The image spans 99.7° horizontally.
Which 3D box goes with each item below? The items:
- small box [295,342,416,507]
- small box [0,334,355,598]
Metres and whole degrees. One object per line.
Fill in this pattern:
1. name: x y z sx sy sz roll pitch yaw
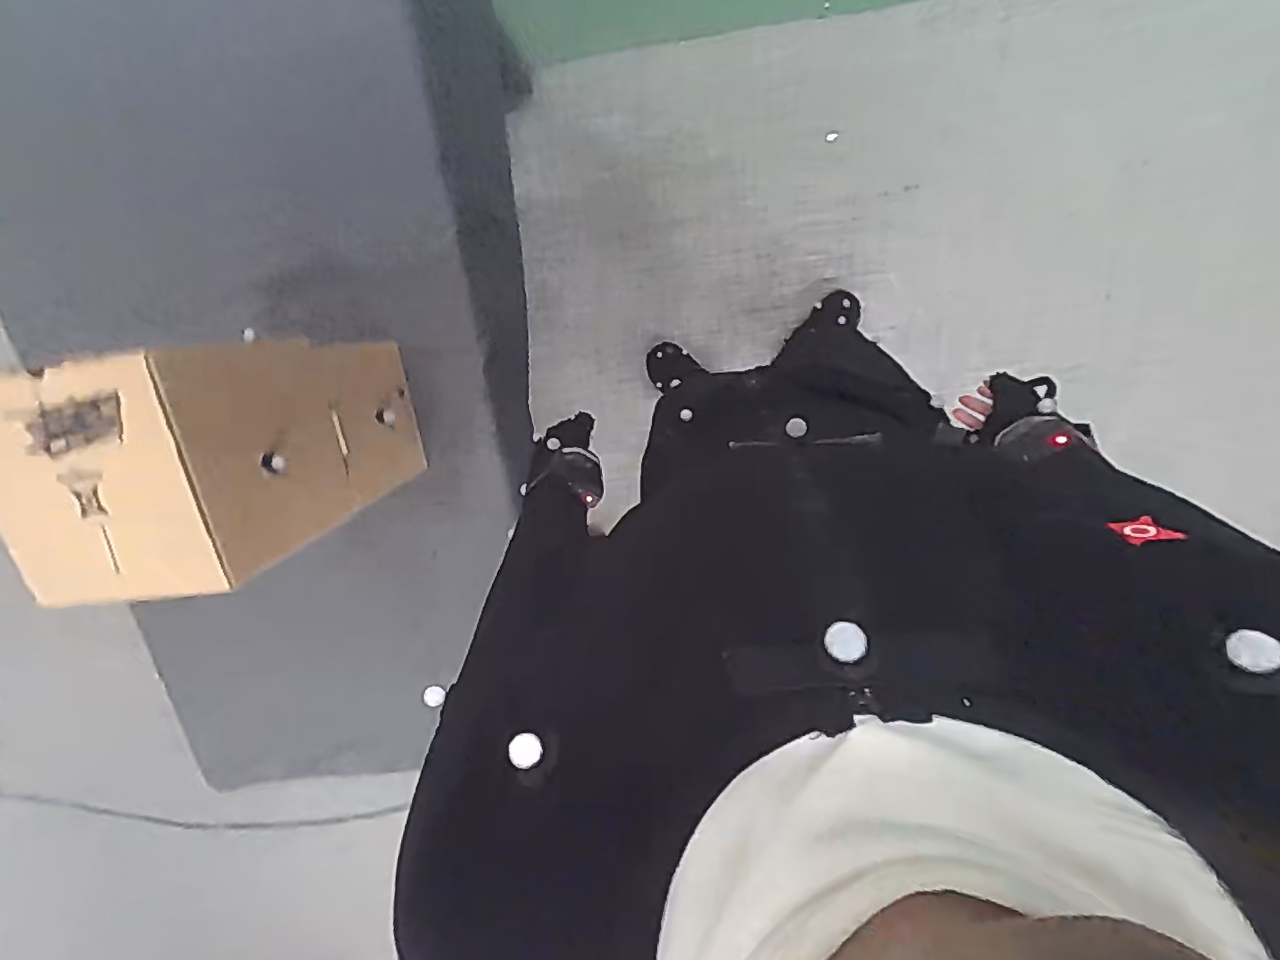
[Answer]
1. small box: -0.382 -0.064 0.625 0.179 0.176 0.168 -6 106 6
2. small box: -0.386 -0.023 0.465 0.168 0.176 0.179 -9 105 7
